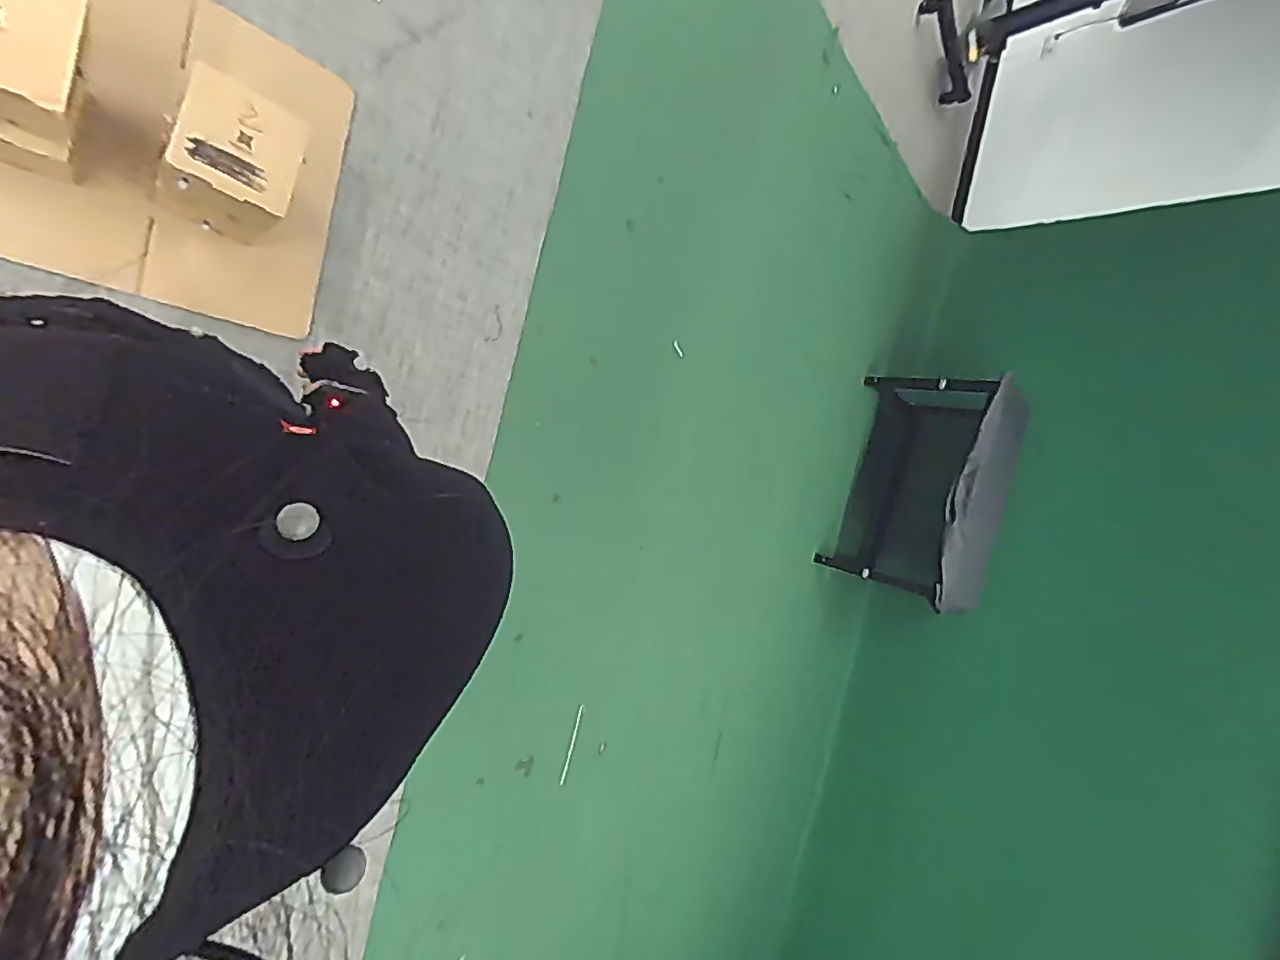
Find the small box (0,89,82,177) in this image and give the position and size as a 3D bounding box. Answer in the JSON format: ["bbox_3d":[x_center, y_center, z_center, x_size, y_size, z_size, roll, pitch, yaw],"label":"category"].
[{"bbox_3d":[-1.027,-0.622,0.868,0.168,0.176,0.179,8,94,-45],"label":"small box"}]

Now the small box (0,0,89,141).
[{"bbox_3d":[-0.906,-0.622,0.756,0.168,0.176,0.179,12,91,-45],"label":"small box"}]

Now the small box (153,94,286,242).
[{"bbox_3d":[-0.833,-0.600,1.067,0.168,0.176,0.179,17,88,-44],"label":"small box"}]
